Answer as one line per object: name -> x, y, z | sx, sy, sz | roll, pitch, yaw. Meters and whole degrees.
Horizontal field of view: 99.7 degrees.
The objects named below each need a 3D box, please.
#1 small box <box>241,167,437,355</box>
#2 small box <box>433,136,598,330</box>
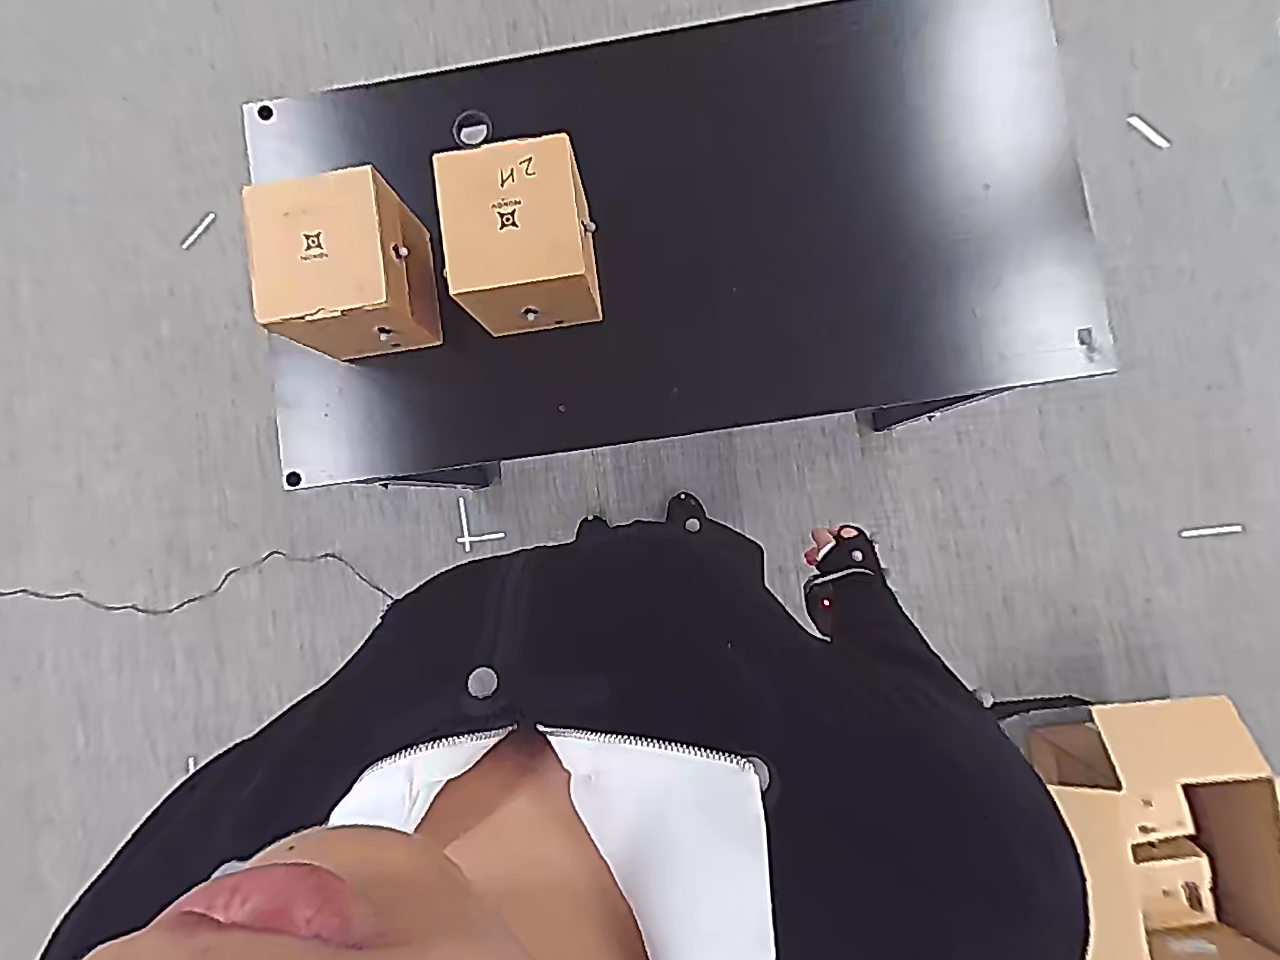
small box -> -0.391, -0.279, 0.732 | 0.168, 0.176, 0.179 | -9, 86, 1
small box -> -0.154, -0.310, 0.719 | 0.168, 0.176, 0.179 | -7, 87, 2
